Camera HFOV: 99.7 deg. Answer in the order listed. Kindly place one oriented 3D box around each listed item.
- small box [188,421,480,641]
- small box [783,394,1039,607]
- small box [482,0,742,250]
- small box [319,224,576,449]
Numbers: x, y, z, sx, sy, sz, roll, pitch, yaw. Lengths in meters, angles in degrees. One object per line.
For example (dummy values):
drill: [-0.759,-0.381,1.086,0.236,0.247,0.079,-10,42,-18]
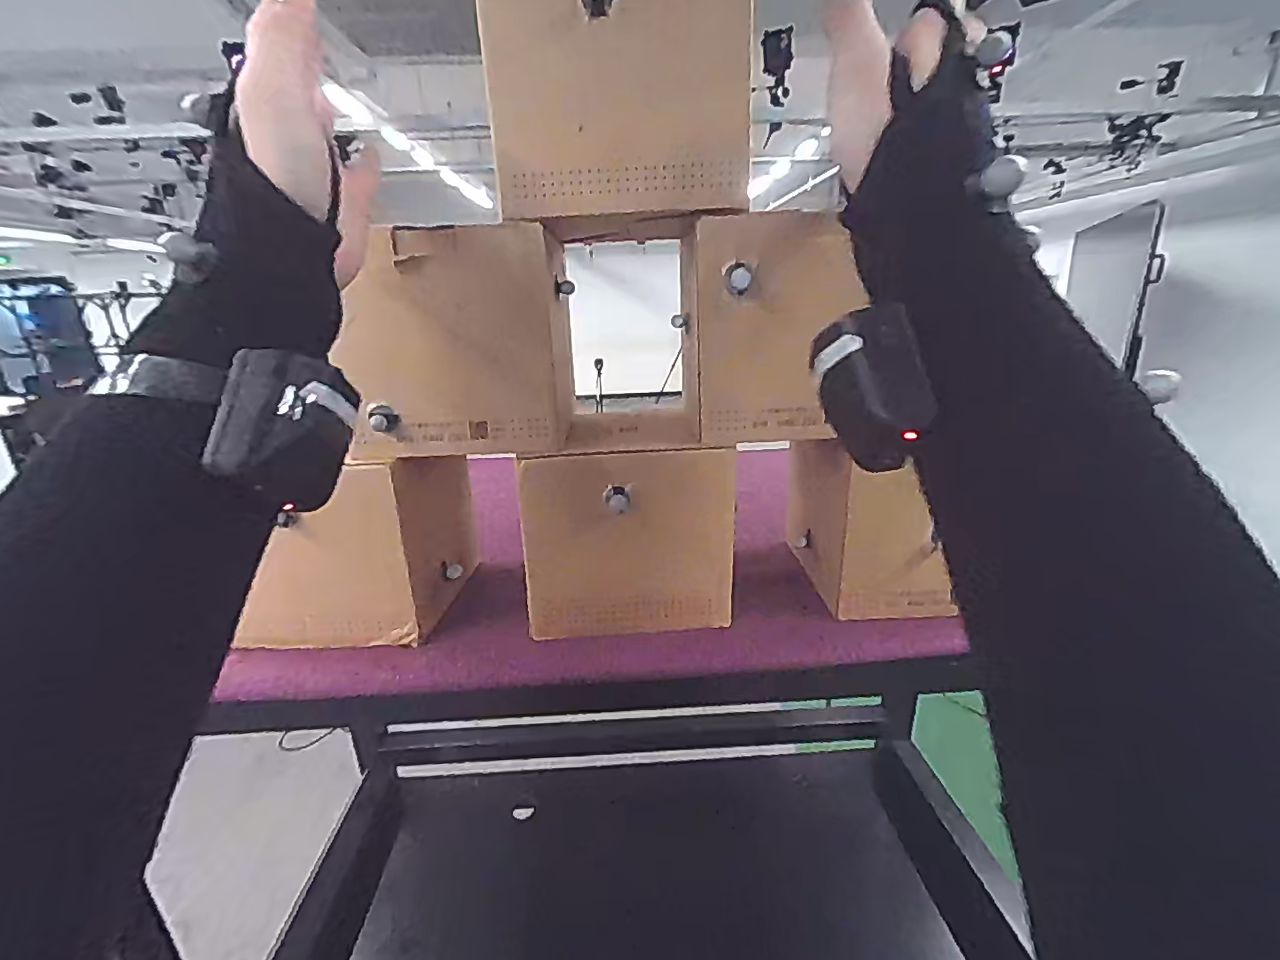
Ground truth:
small box: [-0.270,0.040,0.524,0.179,0.176,0.168,0,17,2]
small box: [0.247,0.015,0.541,0.168,0.176,0.179,-2,18,0]
small box: [-0.015,-0.287,0.442,0.179,0.176,0.168,-2,18,1]
small box: [-0.149,-0.125,0.491,0.168,0.176,0.179,-2,17,-2]
